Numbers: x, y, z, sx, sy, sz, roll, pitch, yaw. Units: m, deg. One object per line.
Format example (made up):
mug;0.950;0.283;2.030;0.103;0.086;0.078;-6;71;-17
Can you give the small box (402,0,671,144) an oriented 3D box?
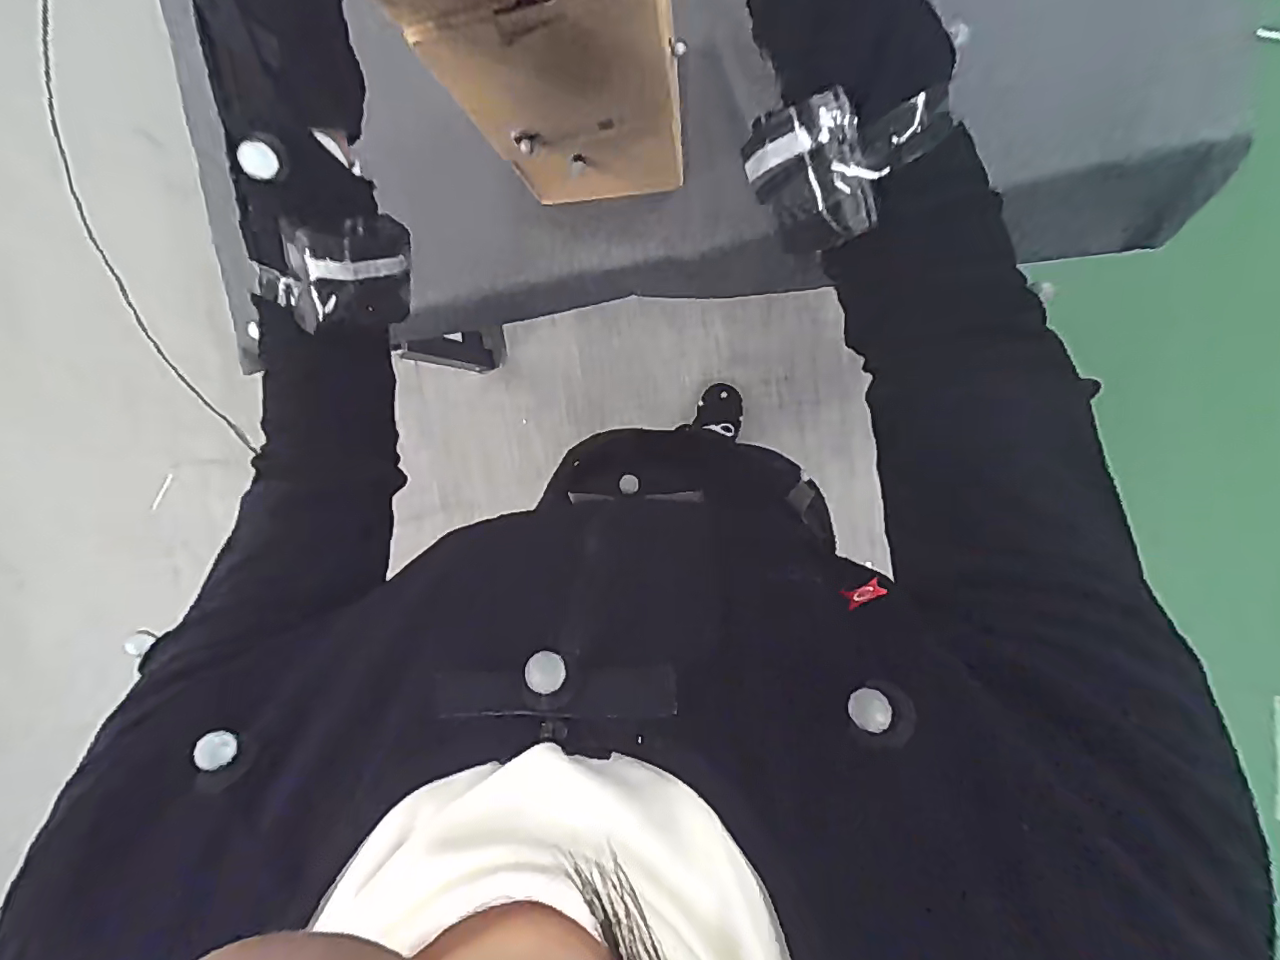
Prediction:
small box;-0.076;-0.392;0.414;0.168;0.176;0.179;-10;95;10

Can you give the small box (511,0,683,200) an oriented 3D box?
small box;-0.051;-0.423;0.576;0.179;0.176;0.168;-5;94;8
